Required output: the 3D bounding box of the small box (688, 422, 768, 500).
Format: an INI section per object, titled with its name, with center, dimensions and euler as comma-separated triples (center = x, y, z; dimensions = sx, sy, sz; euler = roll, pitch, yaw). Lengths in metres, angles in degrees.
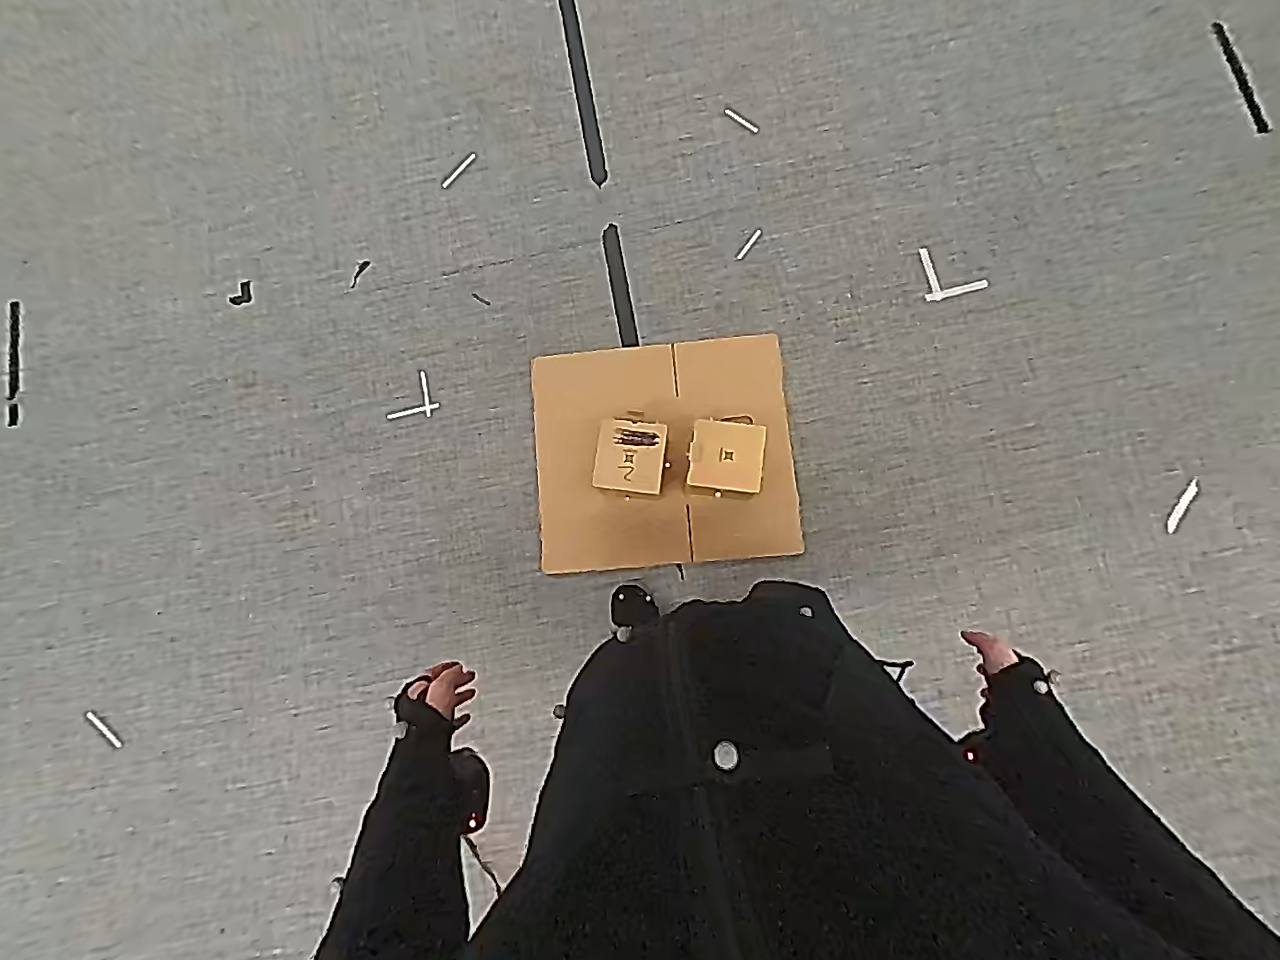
[small box]
center = 0.220, -0.042, 1.384
dimensions = 0.179, 0.176, 0.168
euler = 7, 83, 6
